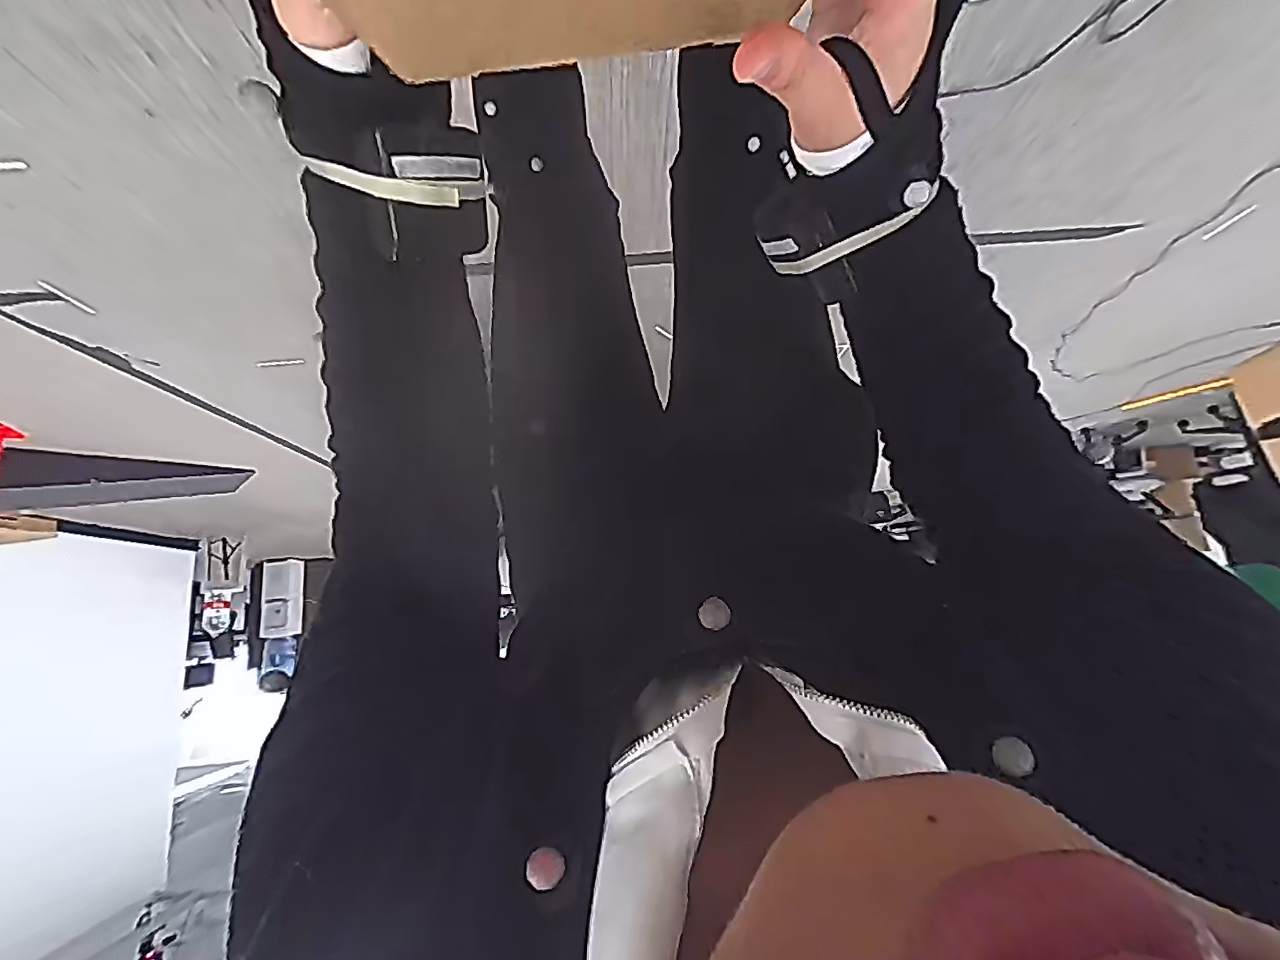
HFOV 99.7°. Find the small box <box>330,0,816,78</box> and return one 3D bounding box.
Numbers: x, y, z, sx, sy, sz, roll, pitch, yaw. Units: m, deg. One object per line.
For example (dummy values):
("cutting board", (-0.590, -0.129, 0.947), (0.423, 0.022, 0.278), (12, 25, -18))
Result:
("small box", (-0.021, -0.226, 0.118), (0.168, 0.176, 0.179), (-9, -161, -1))
